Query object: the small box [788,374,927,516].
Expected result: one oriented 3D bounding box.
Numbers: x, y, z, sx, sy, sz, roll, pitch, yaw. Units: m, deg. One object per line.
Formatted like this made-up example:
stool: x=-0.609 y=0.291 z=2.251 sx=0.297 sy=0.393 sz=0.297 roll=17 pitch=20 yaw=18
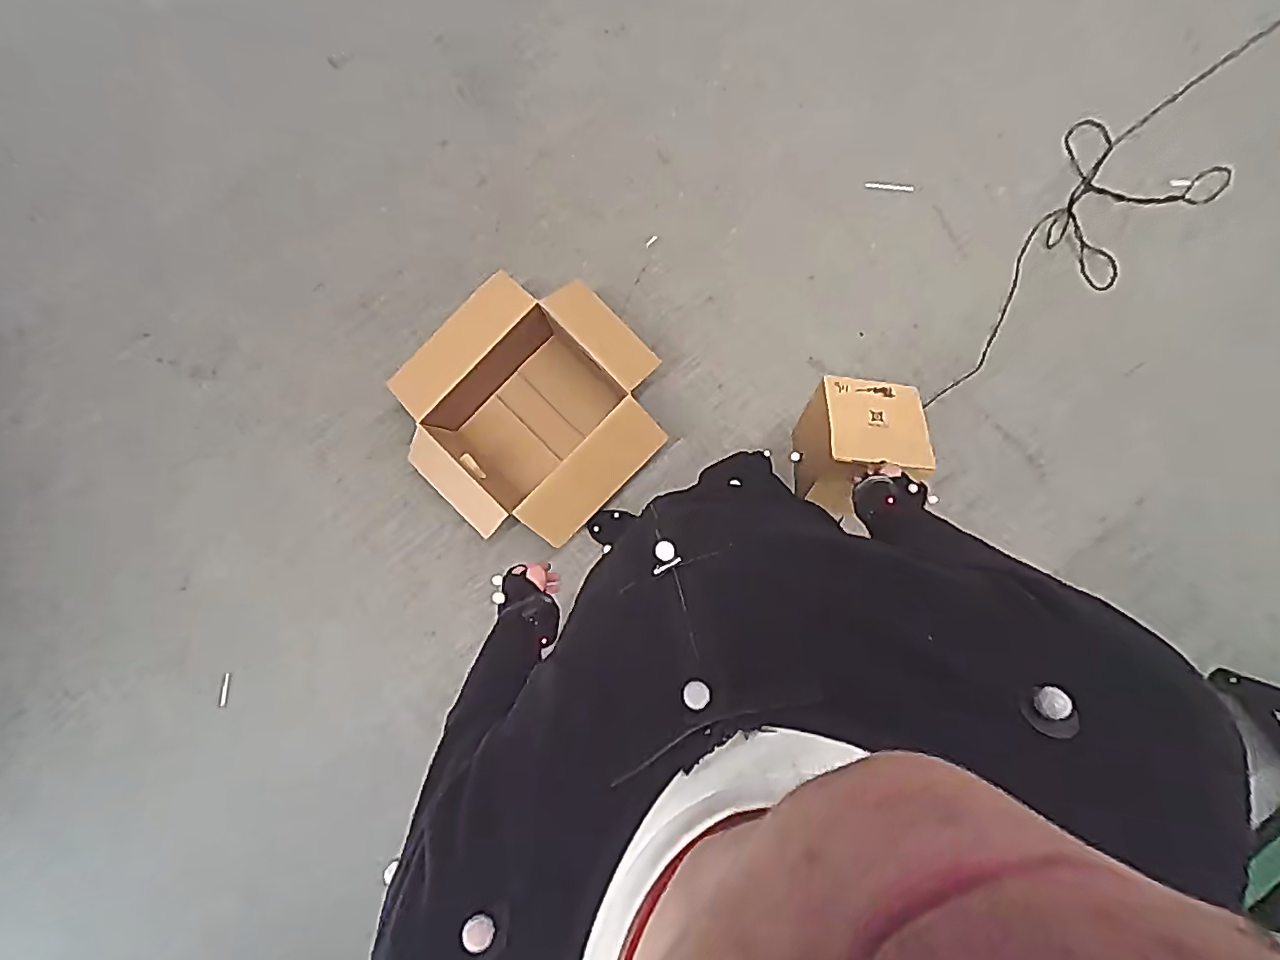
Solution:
small box: x=0.365 y=-0.054 z=0.940 sx=0.168 sy=0.176 sz=0.179 roll=9 pitch=59 yaw=-2
